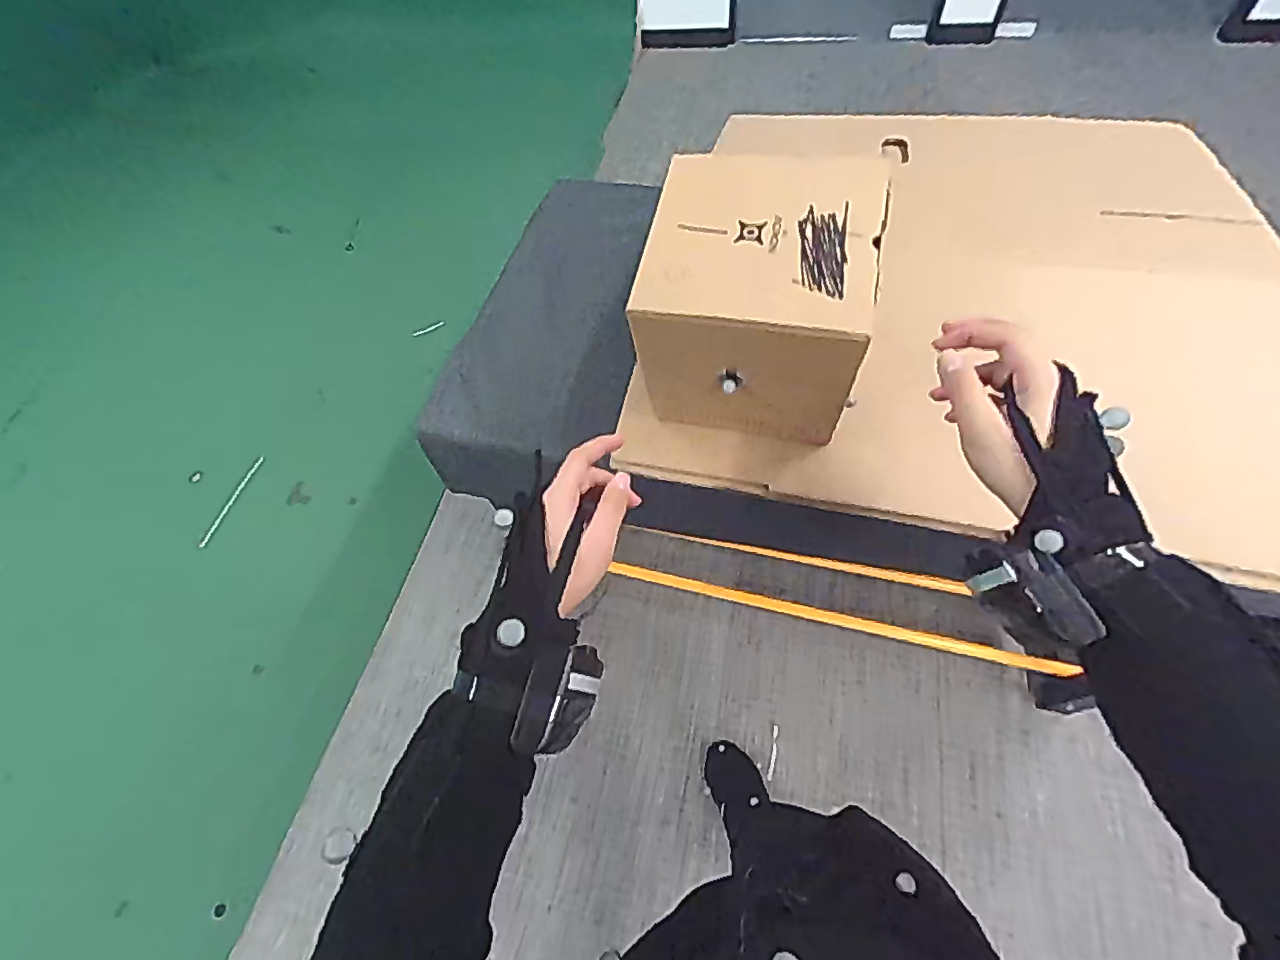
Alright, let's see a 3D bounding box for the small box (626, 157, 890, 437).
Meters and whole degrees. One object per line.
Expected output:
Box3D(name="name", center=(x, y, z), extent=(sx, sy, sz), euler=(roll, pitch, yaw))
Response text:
Box3D(name="small box", center=(0.103, -0.152, 0.485), extent=(0.179, 0.176, 0.168), euler=(10, 70, 14))
